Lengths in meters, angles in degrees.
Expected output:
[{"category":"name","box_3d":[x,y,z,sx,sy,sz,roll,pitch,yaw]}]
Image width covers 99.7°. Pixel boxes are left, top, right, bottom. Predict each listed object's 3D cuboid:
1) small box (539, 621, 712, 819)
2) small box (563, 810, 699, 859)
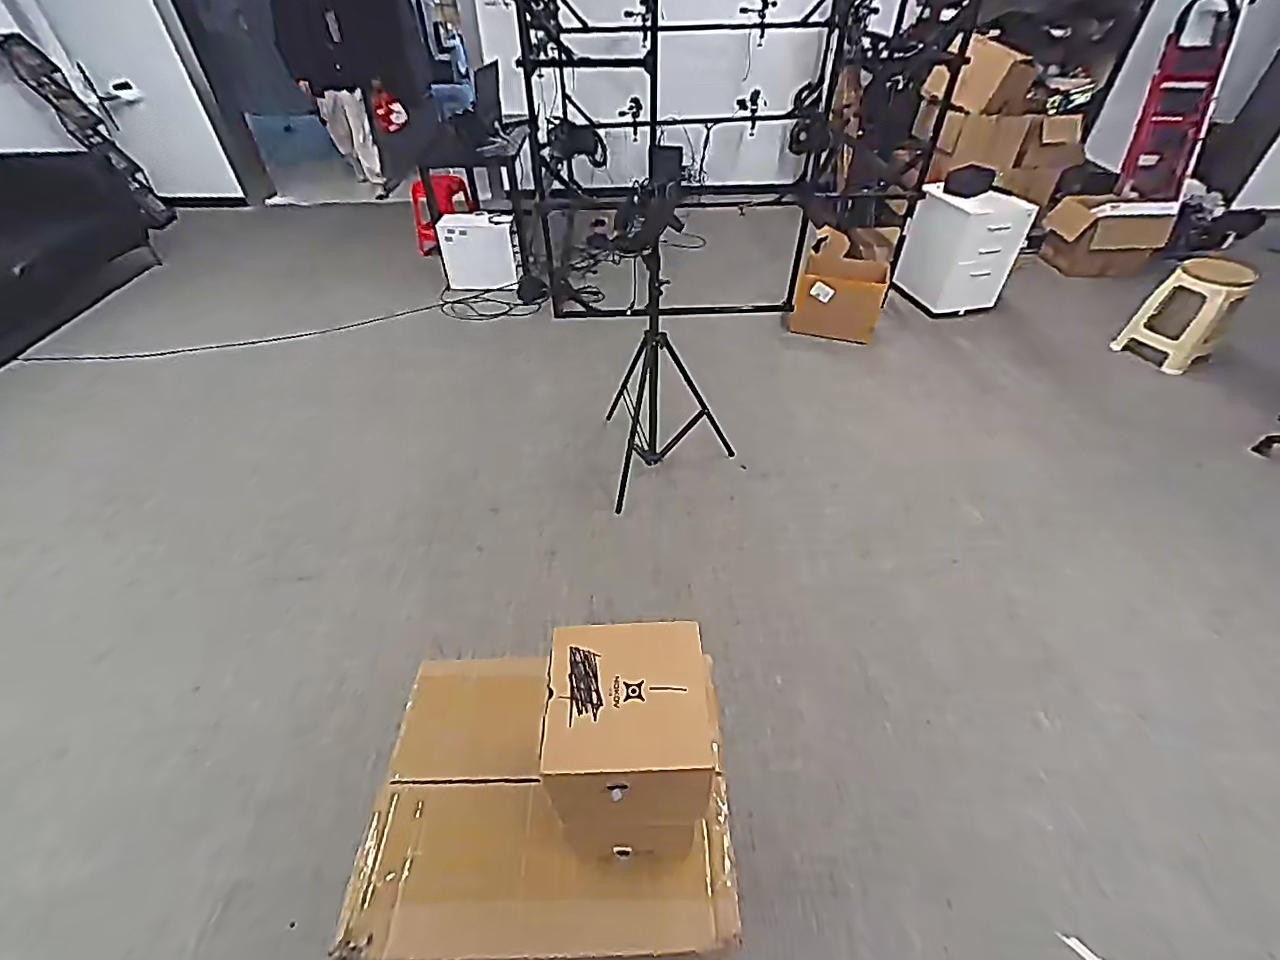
[{"category":"small box","box_3d":[-0.012,0.288,0.645,0.179,0.176,0.168,-3,43,0]},{"category":"small box","box_3d":[-0.010,0.407,0.759,0.168,0.176,0.179,-3,44,1]}]
